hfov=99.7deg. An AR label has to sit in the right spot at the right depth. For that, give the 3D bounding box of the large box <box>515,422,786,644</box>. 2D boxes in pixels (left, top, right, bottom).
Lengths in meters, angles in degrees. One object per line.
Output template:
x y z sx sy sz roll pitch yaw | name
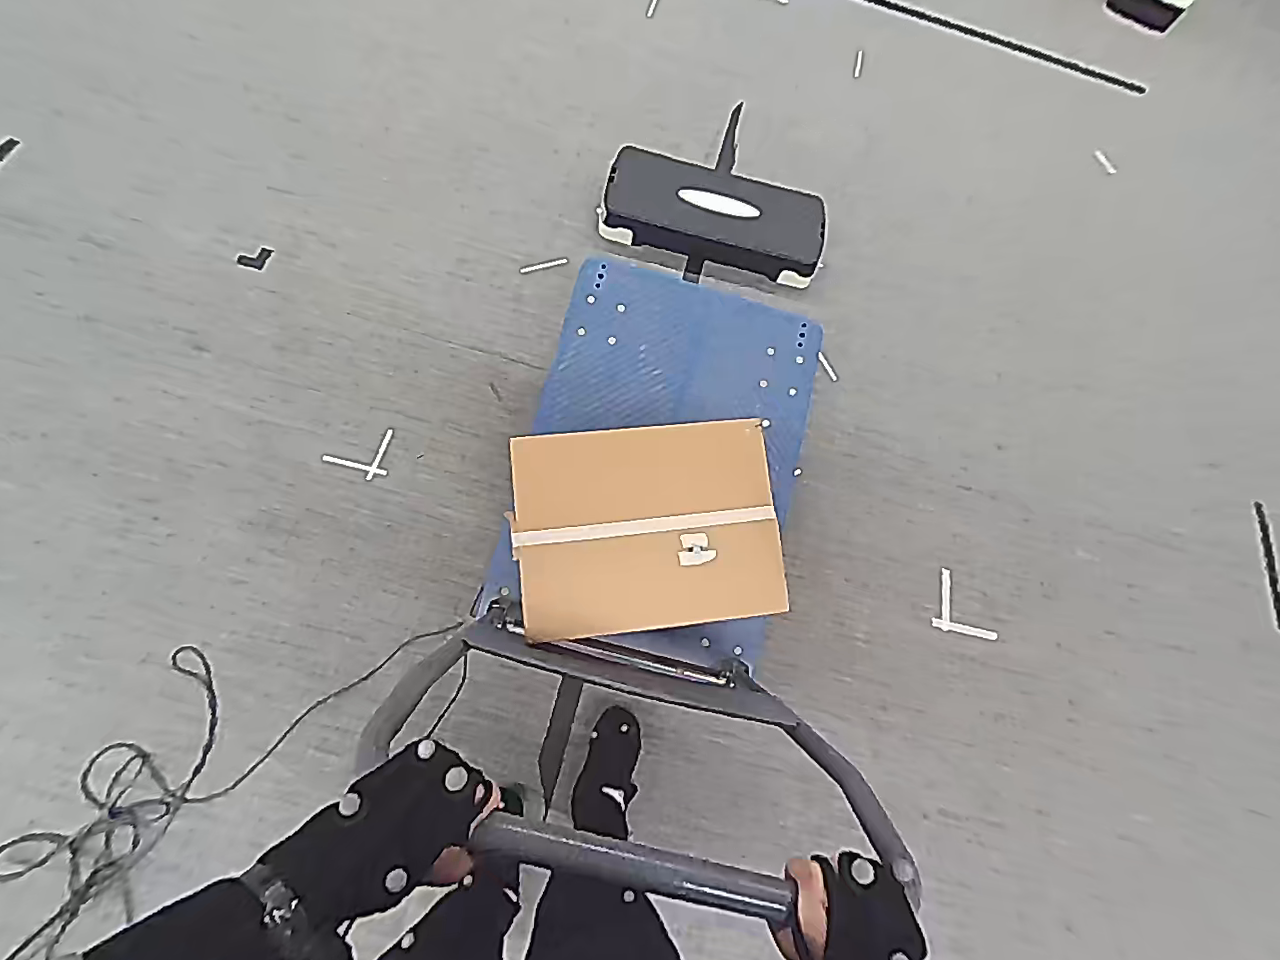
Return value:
-0.002 0.099 0.987 0.408 0.320 0.320 -5 81 -8 | large box
